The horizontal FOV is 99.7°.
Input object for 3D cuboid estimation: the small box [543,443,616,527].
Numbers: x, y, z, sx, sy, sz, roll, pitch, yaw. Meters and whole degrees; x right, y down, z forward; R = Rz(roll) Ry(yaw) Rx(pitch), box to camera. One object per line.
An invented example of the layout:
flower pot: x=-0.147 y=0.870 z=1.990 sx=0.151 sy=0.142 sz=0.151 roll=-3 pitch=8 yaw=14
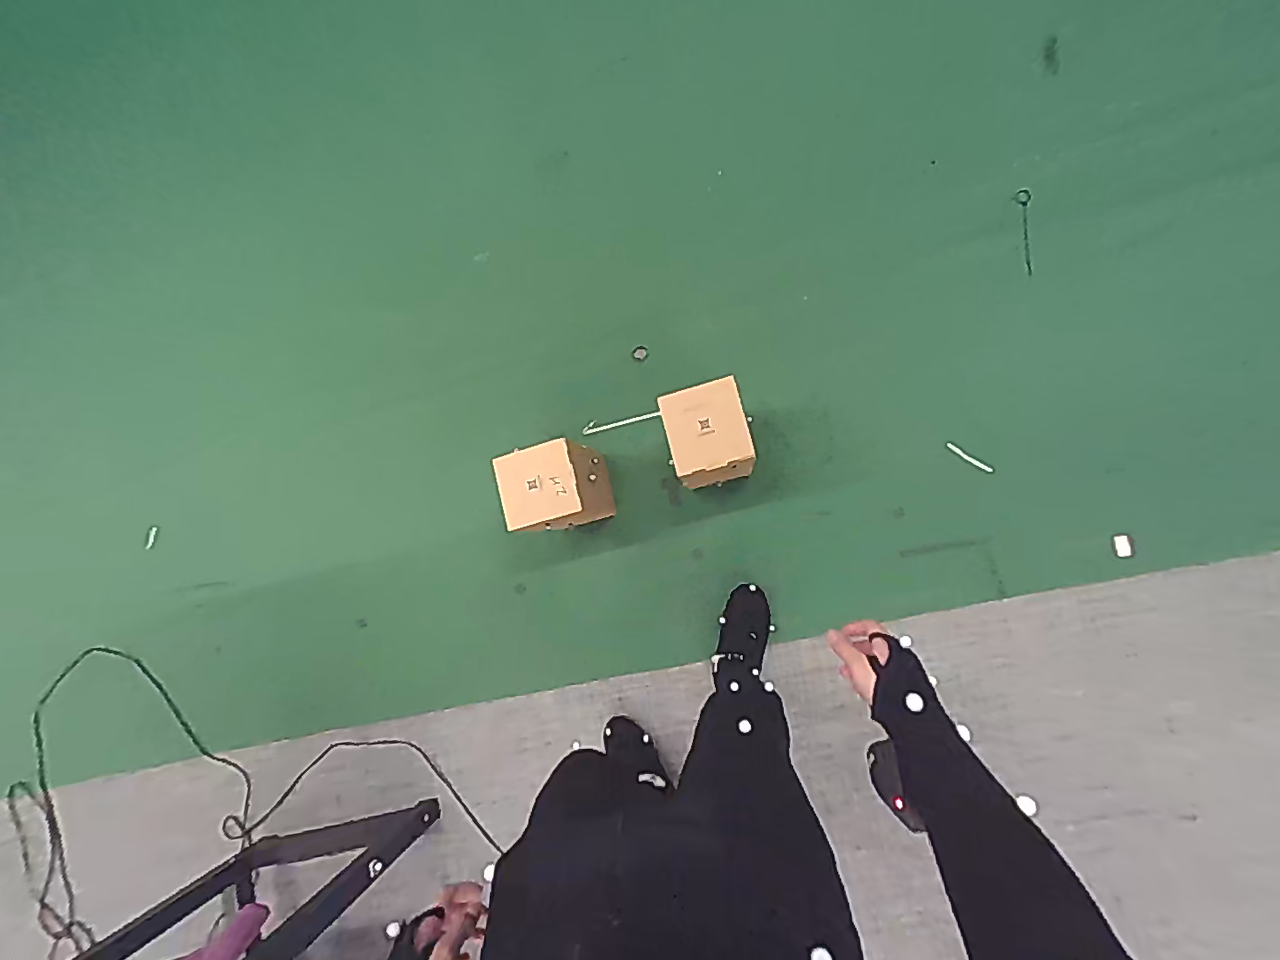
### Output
small box: x=-0.171 y=0.018 z=1.394 sx=0.168 sy=0.176 sz=0.179 roll=-16 pitch=82 yaw=10

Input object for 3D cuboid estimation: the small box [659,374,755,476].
small box: x=0.150 y=-0.109 z=1.176 sx=0.168 sy=0.176 sz=0.179 roll=-15 pitch=83 yaw=8

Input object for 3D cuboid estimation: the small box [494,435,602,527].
small box: x=-0.204 y=0.010 z=1.233 sx=0.179 sy=0.176 sz=0.168 roll=-16 pitch=82 yaw=9
